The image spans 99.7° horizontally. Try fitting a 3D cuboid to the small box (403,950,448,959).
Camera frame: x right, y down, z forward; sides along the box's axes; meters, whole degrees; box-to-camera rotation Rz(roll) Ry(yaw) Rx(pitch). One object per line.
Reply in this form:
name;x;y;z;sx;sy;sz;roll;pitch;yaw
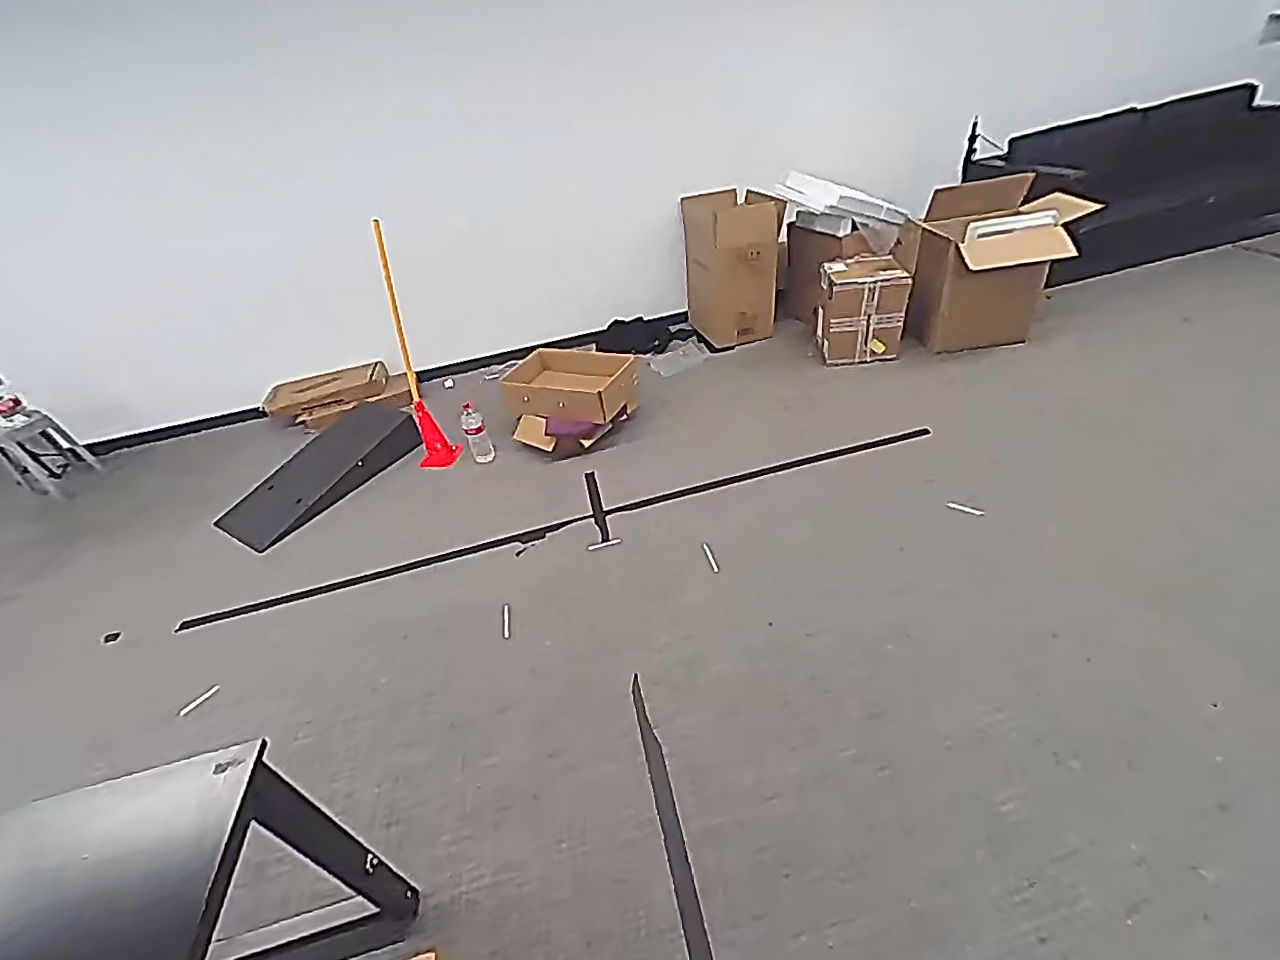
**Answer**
small box;-0.473;1.096;1.088;0.179;0.176;0.168;-15;38;-5
